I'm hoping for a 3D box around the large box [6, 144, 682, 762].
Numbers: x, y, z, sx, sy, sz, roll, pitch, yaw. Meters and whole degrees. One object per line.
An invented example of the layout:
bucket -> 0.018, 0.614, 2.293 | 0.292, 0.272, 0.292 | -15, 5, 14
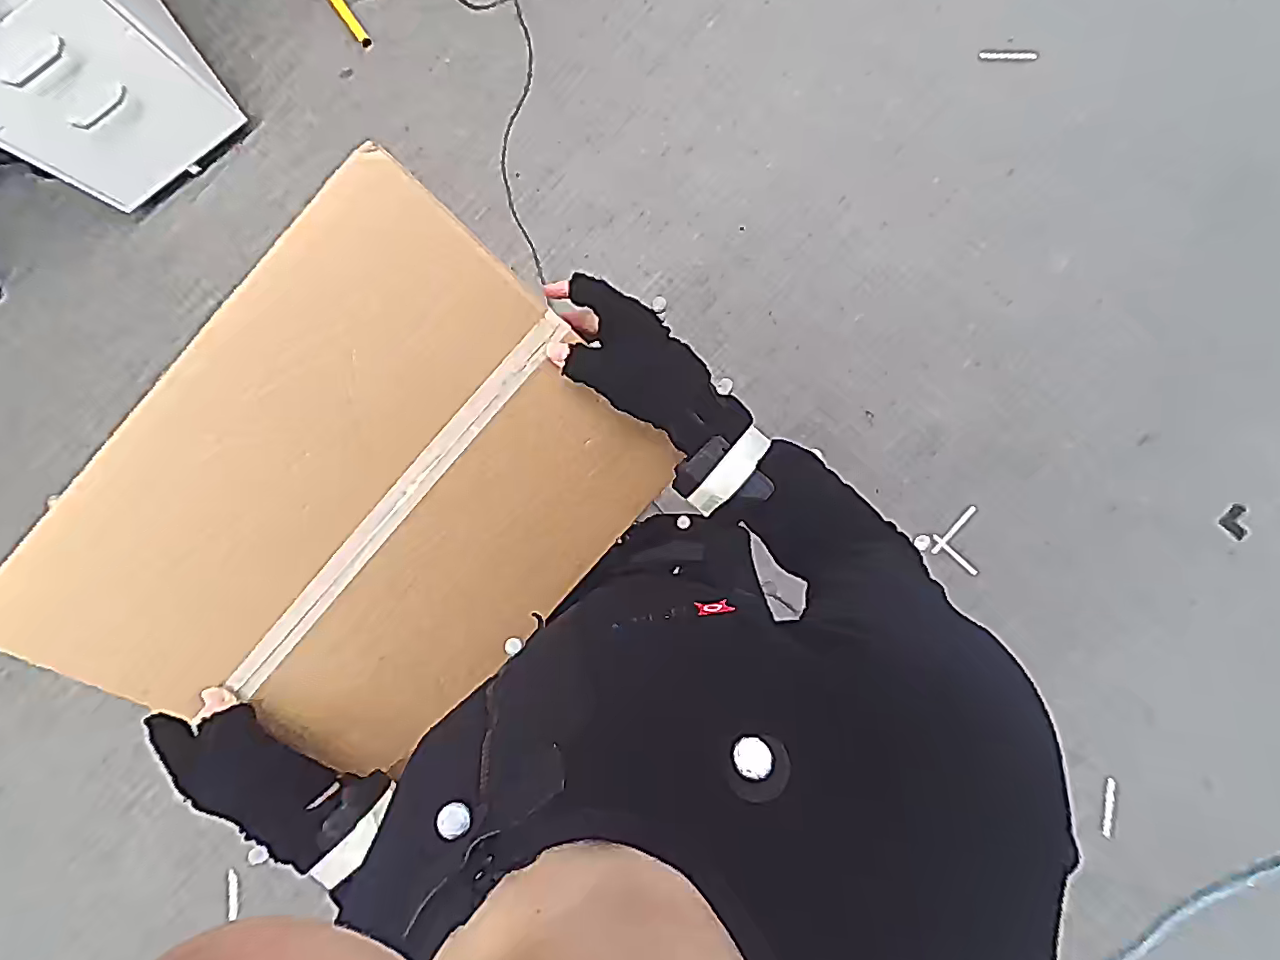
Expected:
large box -> -0.238, -0.024, 0.549 | 0.320, 0.320, 0.408 | 41, 93, -27
